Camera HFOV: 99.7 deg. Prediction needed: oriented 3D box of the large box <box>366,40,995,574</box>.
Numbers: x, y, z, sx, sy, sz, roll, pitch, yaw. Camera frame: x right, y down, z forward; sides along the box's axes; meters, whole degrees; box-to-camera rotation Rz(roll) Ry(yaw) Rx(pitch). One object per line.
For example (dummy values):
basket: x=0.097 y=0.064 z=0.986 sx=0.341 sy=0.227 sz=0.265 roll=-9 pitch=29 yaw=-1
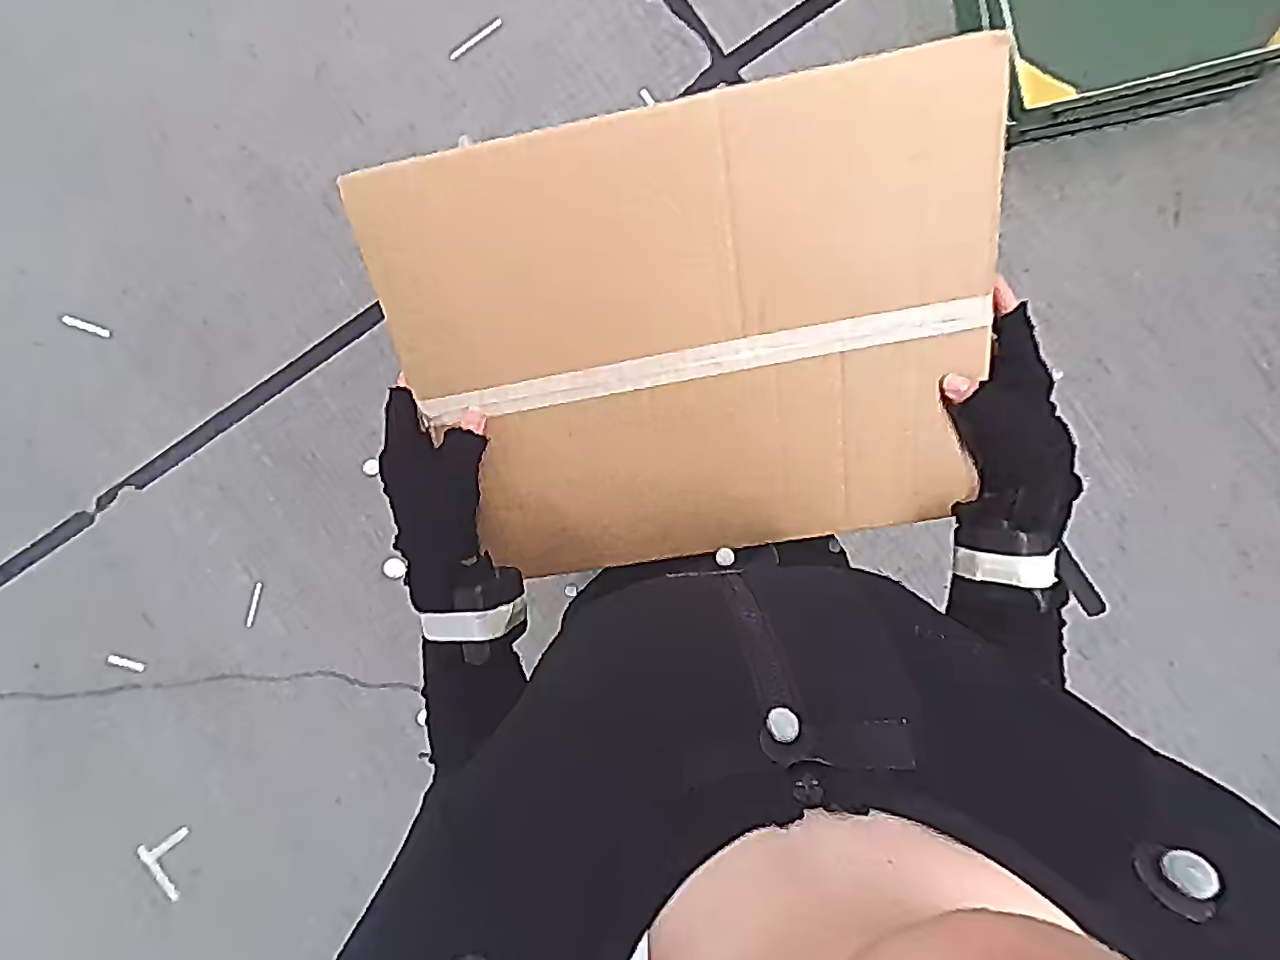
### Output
large box: x=0.042 y=-0.147 z=0.527 sx=0.408 sy=0.320 sz=0.320 roll=-9 pitch=115 yaw=5
